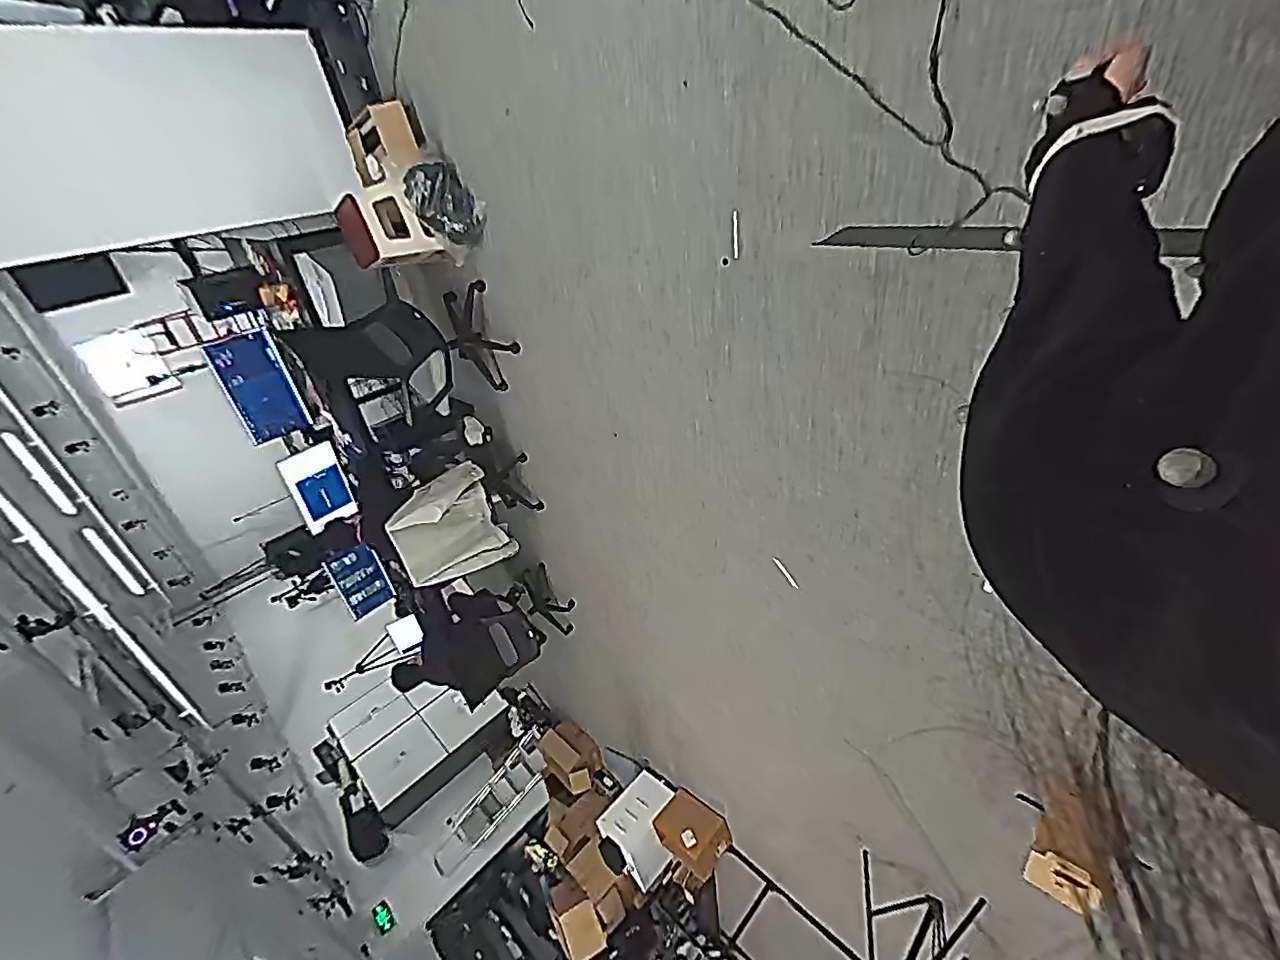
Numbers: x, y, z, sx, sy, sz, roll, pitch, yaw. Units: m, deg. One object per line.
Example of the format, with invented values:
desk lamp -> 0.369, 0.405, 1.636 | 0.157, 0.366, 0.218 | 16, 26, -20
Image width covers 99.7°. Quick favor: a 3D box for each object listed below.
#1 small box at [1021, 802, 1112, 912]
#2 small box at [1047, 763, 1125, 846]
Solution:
small box -> 1.265, 1.107, 1.603 | 0.168, 0.176, 0.179 | 20, 132, 43
small box -> 1.384, 1.033, 1.690 | 0.168, 0.176, 0.179 | 19, 133, 43
